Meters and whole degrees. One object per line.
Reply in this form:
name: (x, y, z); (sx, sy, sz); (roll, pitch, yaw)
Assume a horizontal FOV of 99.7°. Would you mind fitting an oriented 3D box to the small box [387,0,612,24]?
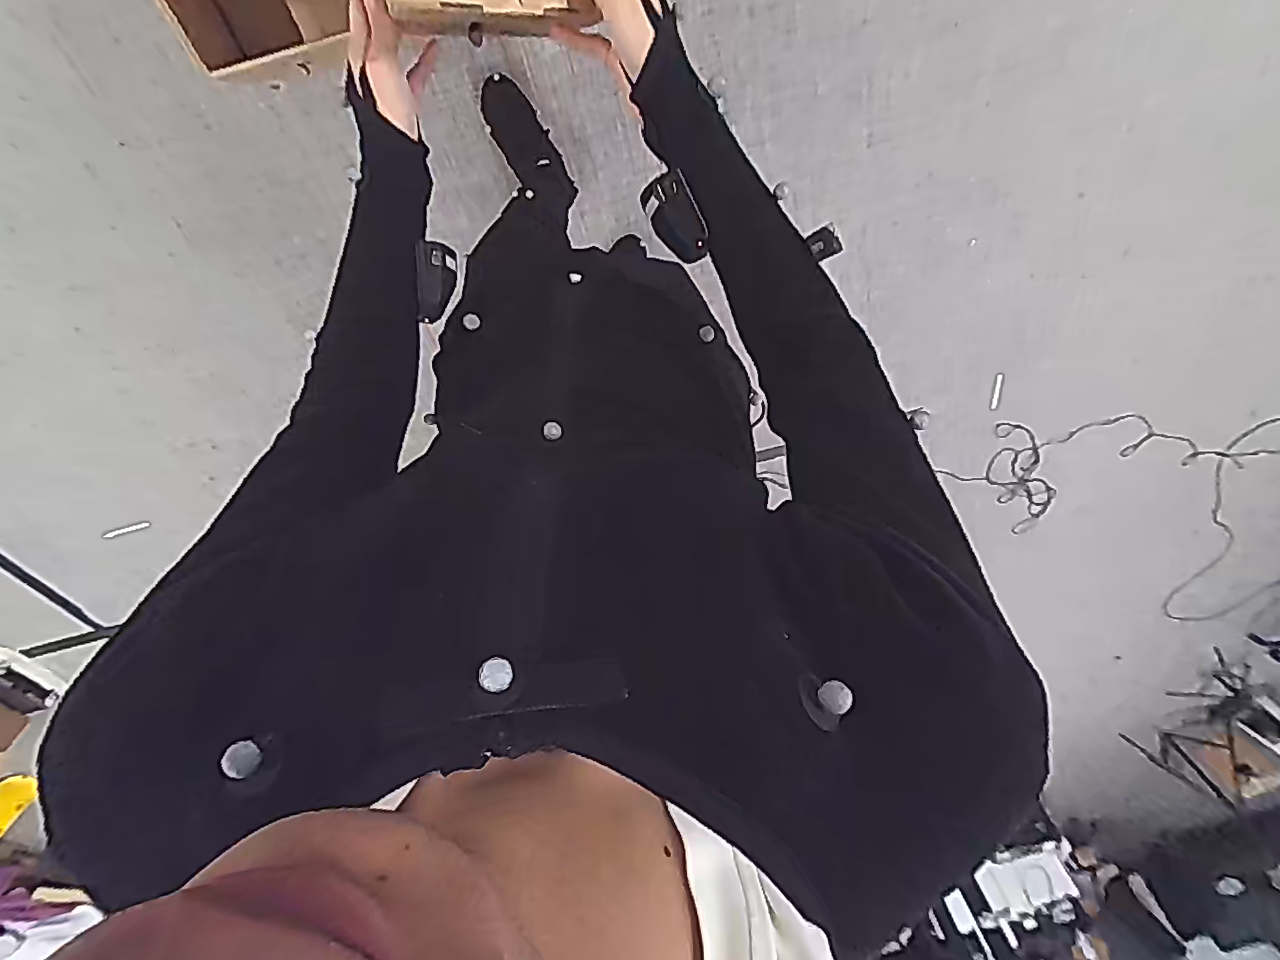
small box: (-0.124, -0.457, 0.394); (0.168, 0.176, 0.179); (-13, 128, -16)
